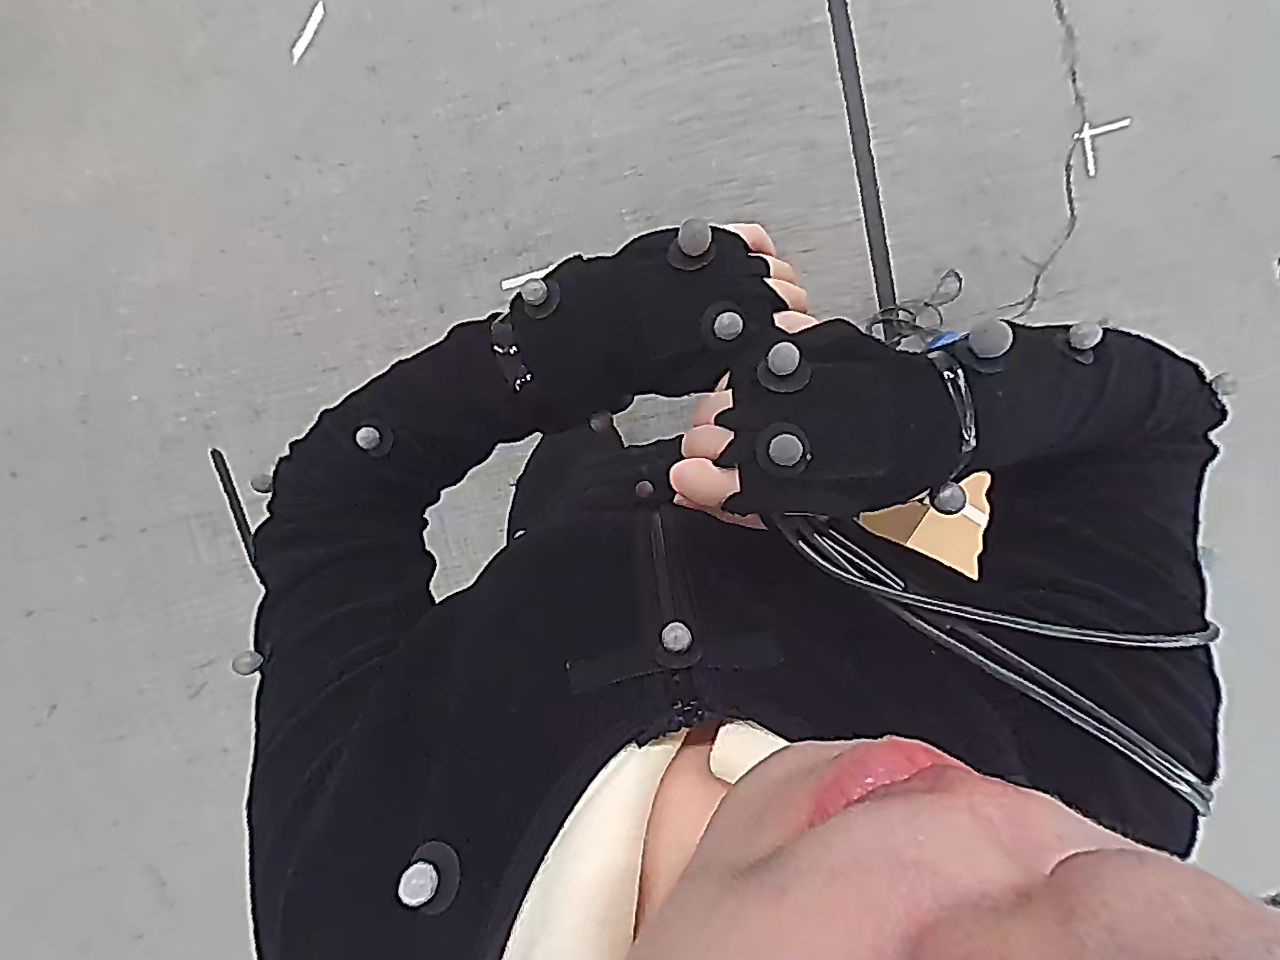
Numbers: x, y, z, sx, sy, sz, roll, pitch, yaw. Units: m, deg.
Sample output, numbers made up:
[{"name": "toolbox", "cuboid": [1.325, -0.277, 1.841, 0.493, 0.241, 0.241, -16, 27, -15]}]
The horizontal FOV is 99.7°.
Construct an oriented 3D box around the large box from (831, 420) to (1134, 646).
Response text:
[{"name": "large box", "cuboid": [0.719, 0.093, 1.200, 0.408, 0.320, 0.320, 30, 95, -6]}]
